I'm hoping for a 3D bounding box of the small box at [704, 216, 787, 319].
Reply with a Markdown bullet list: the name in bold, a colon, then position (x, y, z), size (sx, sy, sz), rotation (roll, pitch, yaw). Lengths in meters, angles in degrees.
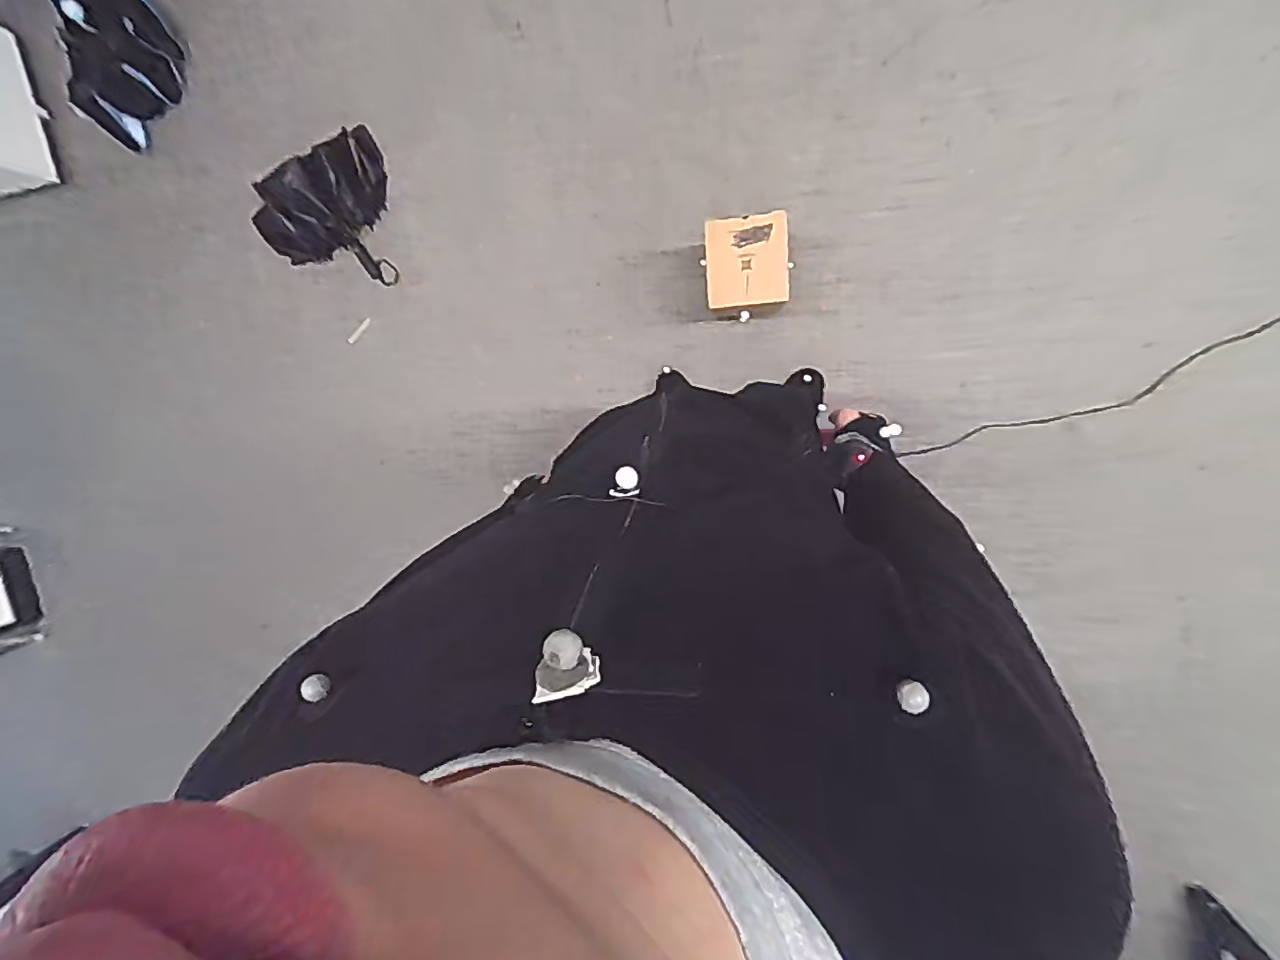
- **small box**: position (0.228, -0.455, 1.182), size (0.168, 0.176, 0.179), rotation (-3, 102, 11)
